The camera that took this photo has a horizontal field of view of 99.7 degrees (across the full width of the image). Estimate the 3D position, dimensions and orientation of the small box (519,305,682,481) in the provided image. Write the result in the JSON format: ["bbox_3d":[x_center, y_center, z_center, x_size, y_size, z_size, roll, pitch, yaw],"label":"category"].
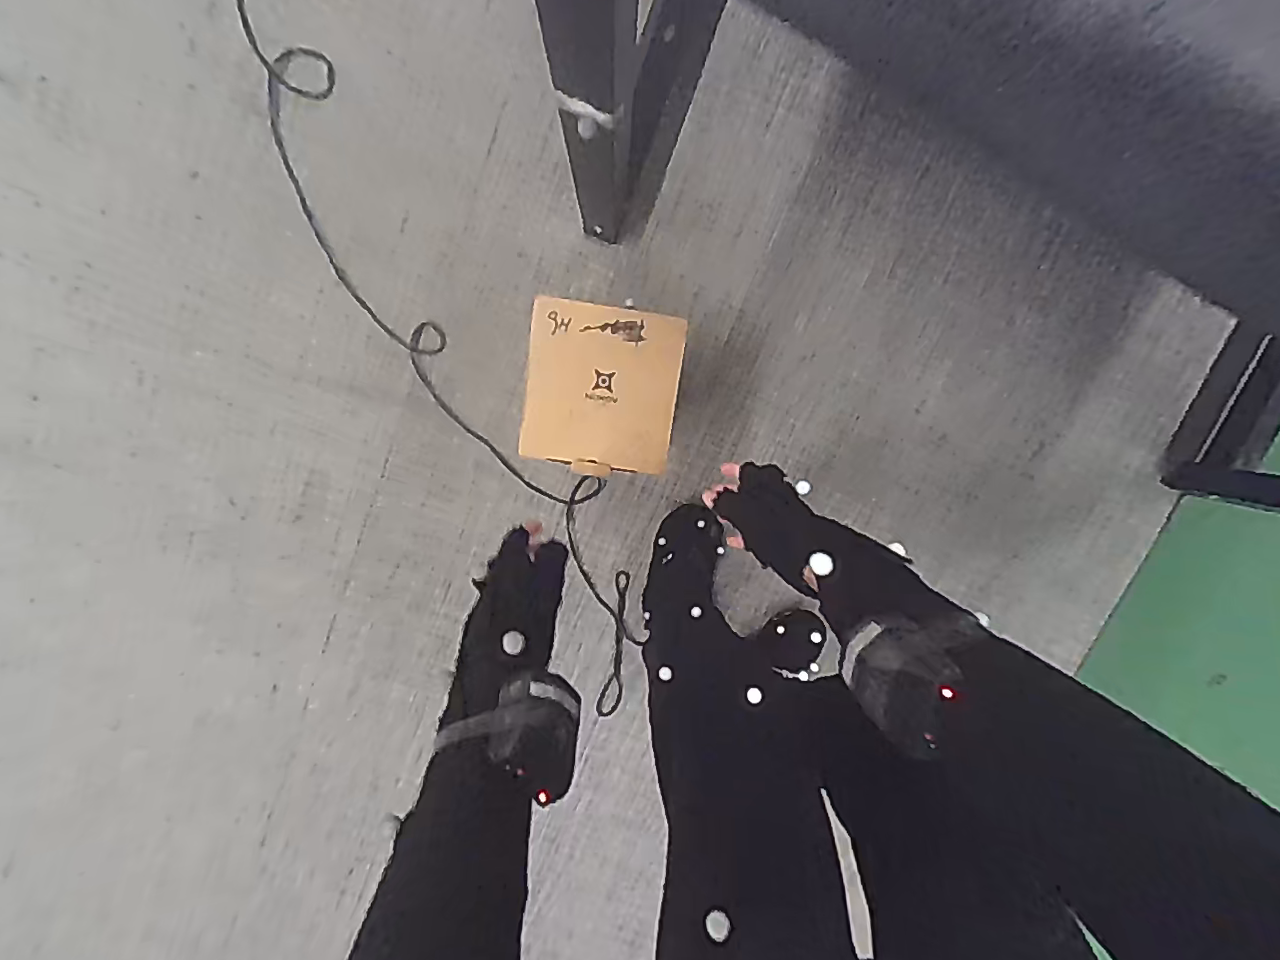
[{"bbox_3d":[-0.045,-0.107,0.665,0.168,0.176,0.179,6,100,-2],"label":"small box"}]
